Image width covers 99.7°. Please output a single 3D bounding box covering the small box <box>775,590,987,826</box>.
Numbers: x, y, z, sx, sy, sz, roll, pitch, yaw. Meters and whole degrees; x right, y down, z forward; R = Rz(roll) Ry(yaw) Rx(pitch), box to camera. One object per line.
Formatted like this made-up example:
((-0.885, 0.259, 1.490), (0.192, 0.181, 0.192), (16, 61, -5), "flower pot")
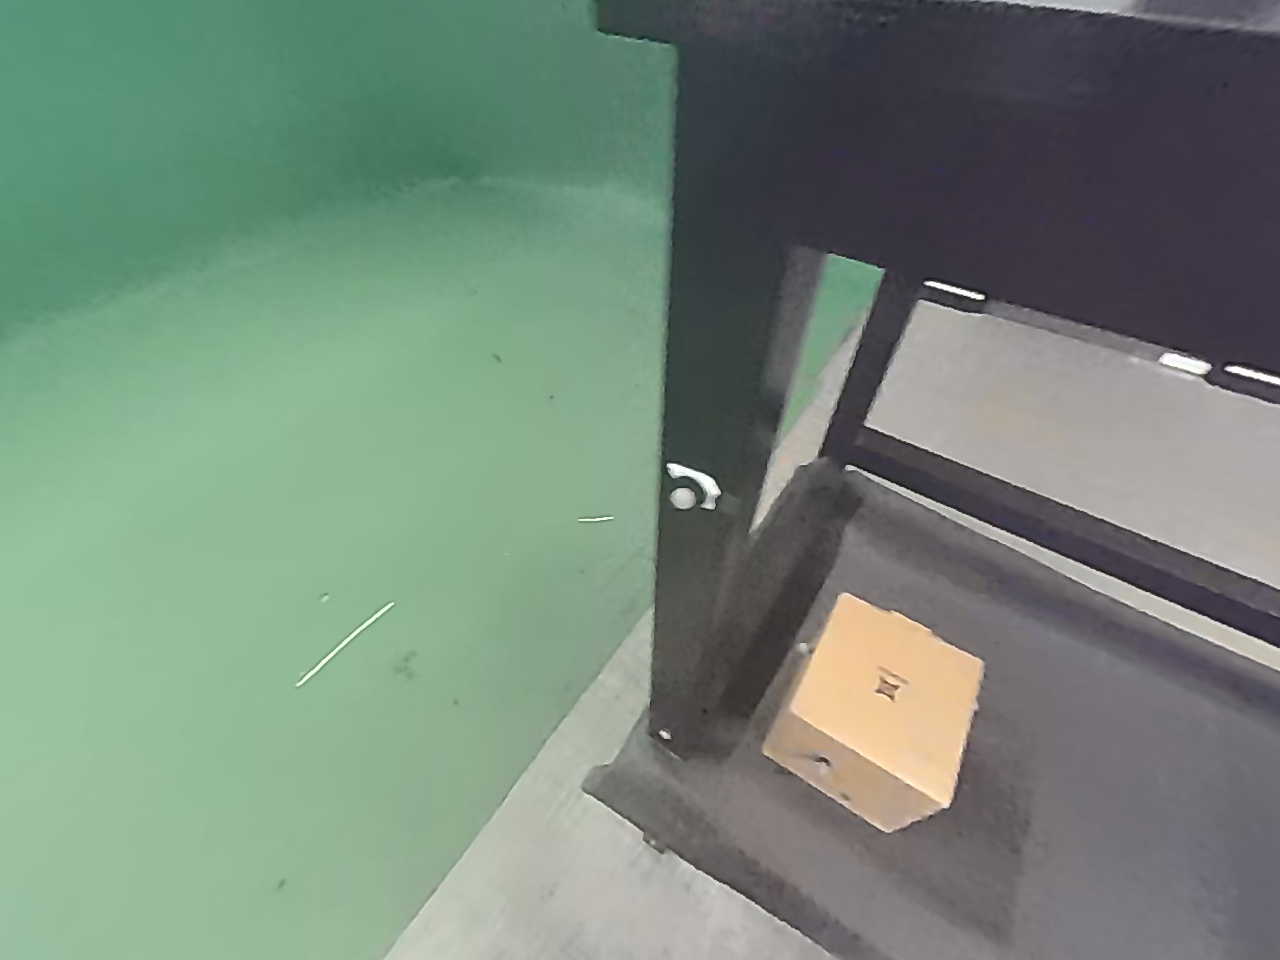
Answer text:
((0.275, 0.274, 0.647), (0.168, 0.176, 0.179), (26, 53, 21), "small box")
